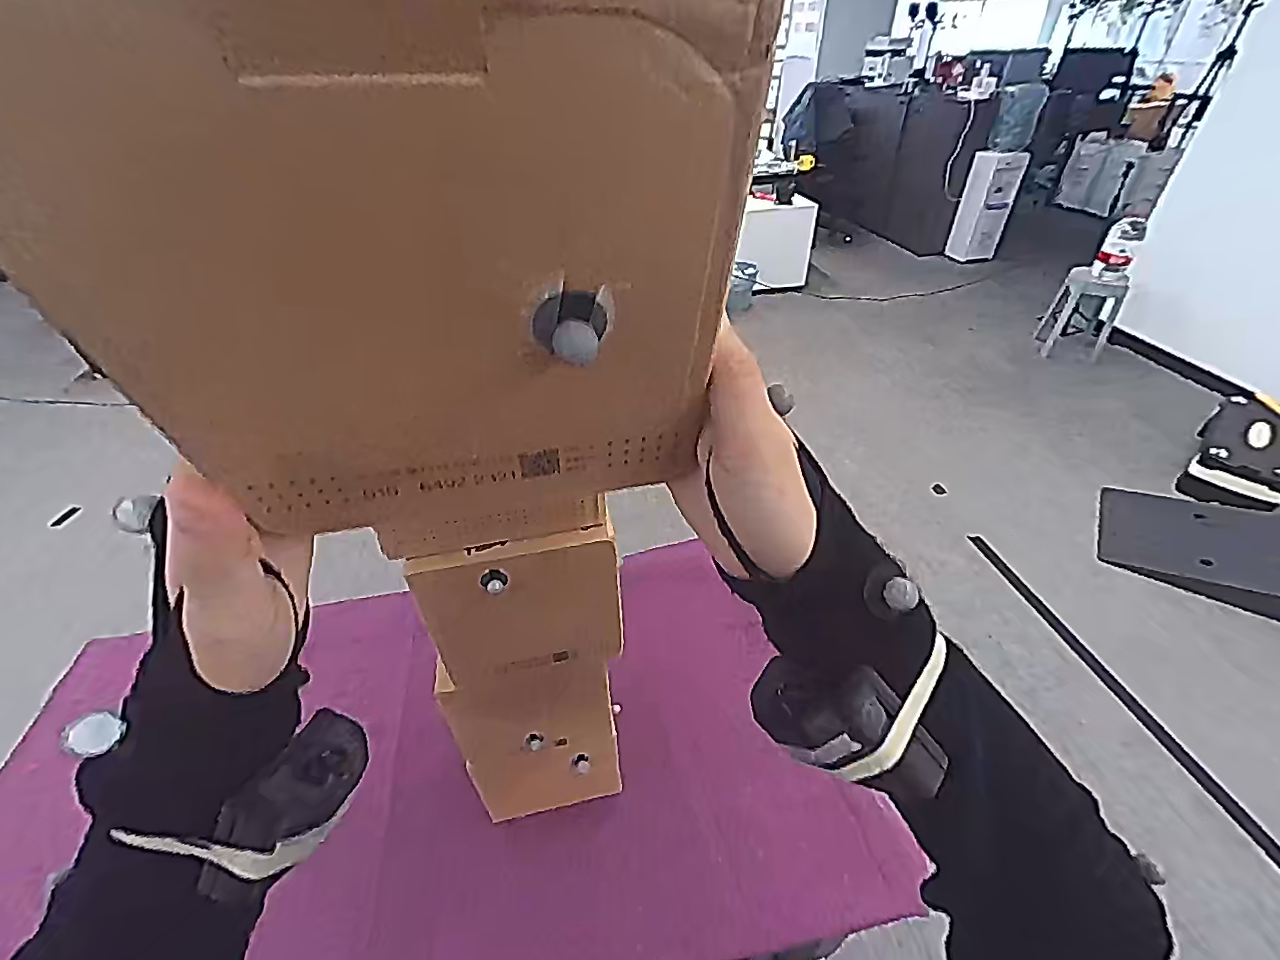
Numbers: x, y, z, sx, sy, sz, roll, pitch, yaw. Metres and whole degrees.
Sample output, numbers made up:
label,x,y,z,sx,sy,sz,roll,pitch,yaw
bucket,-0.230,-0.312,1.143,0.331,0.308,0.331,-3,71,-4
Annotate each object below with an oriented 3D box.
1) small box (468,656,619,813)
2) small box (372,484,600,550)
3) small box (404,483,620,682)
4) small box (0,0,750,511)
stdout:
label,x,y,z,sx,sy,sz,roll,pitch,yaw
small box,-0.126,0.323,0.740,0.179,0.176,0.168,-9,39,-8
small box,-0.129,-0.066,0.441,0.179,0.176,0.168,-10,40,-9
small box,-0.116,0.066,0.536,0.168,0.176,0.179,-9,40,-9
small box,-0.078,-0.103,0.202,0.168,0.176,0.179,-9,54,-11
